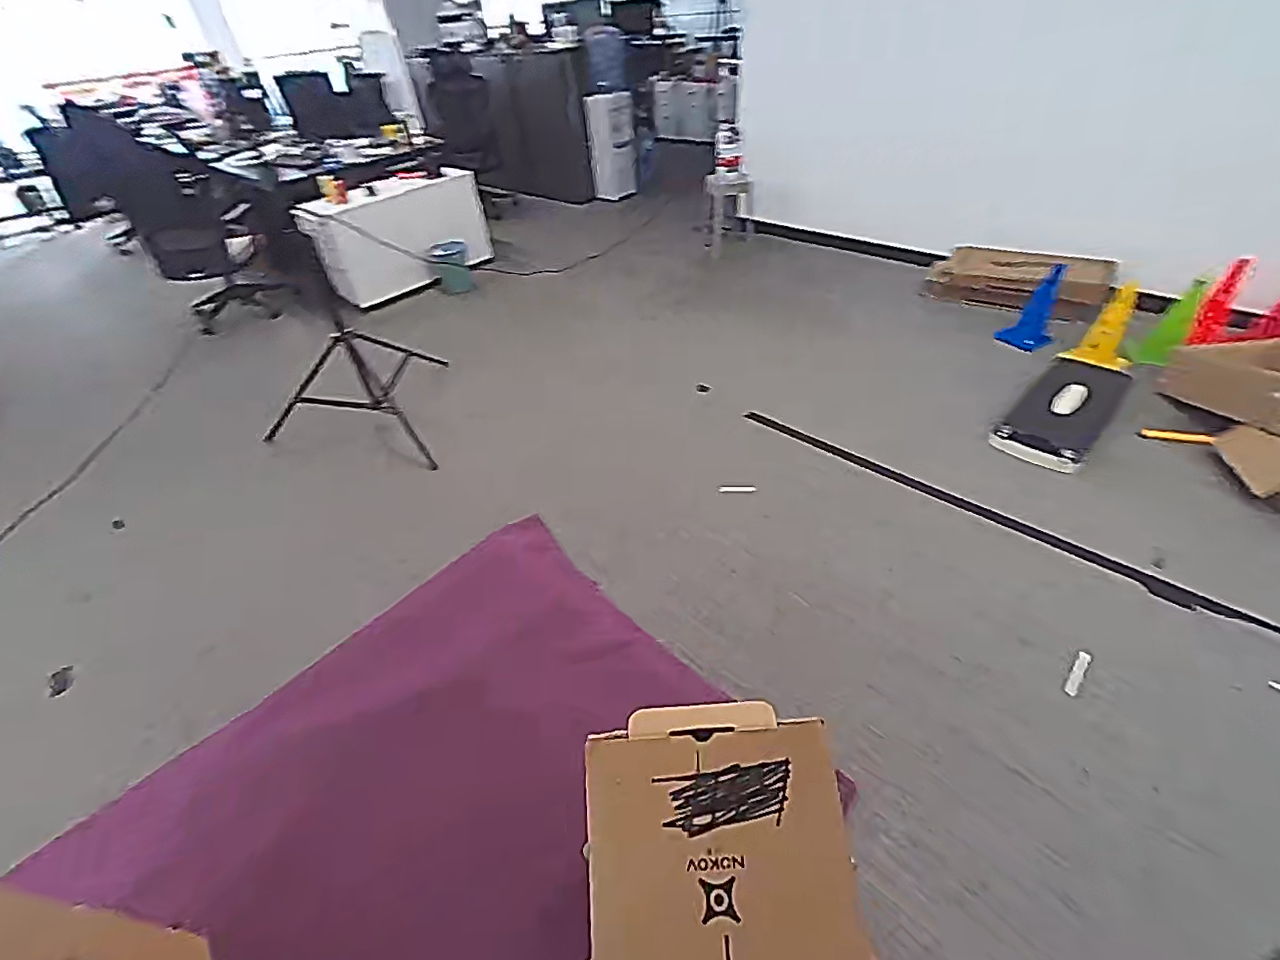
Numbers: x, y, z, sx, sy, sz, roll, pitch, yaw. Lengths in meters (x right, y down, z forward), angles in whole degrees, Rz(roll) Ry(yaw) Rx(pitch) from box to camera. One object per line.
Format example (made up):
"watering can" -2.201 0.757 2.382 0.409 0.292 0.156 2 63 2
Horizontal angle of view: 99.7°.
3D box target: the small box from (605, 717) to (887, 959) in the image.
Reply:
"small box" 0.069 0.280 0.404 0.168 0.176 0.179 -6 65 6

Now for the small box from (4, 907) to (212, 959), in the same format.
"small box" -0.441 0.478 0.396 0.168 0.176 0.179 29 52 34
